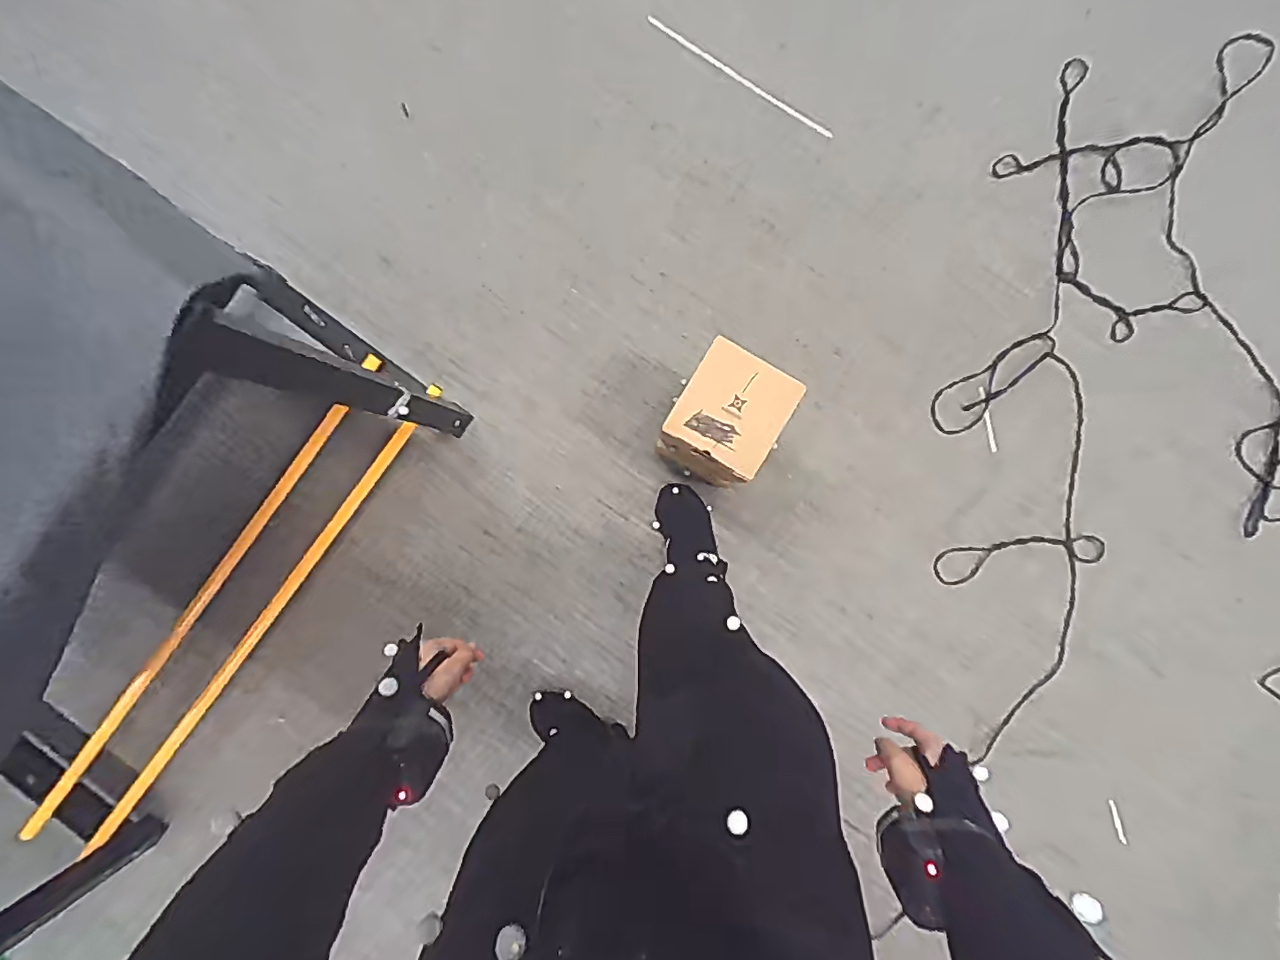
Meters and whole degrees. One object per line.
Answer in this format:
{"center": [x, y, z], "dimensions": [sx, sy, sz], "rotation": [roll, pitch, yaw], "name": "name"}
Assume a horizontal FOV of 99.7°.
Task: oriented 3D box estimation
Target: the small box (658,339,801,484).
{"center": [0.144, -0.105, 0.926], "dimensions": [0.168, 0.176, 0.179], "rotation": [31, 88, 1], "name": "small box"}

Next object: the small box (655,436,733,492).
{"center": [0.139, -0.090, 1.089], "dimensions": [0.168, 0.176, 0.179], "rotation": [30, 89, 2], "name": "small box"}
